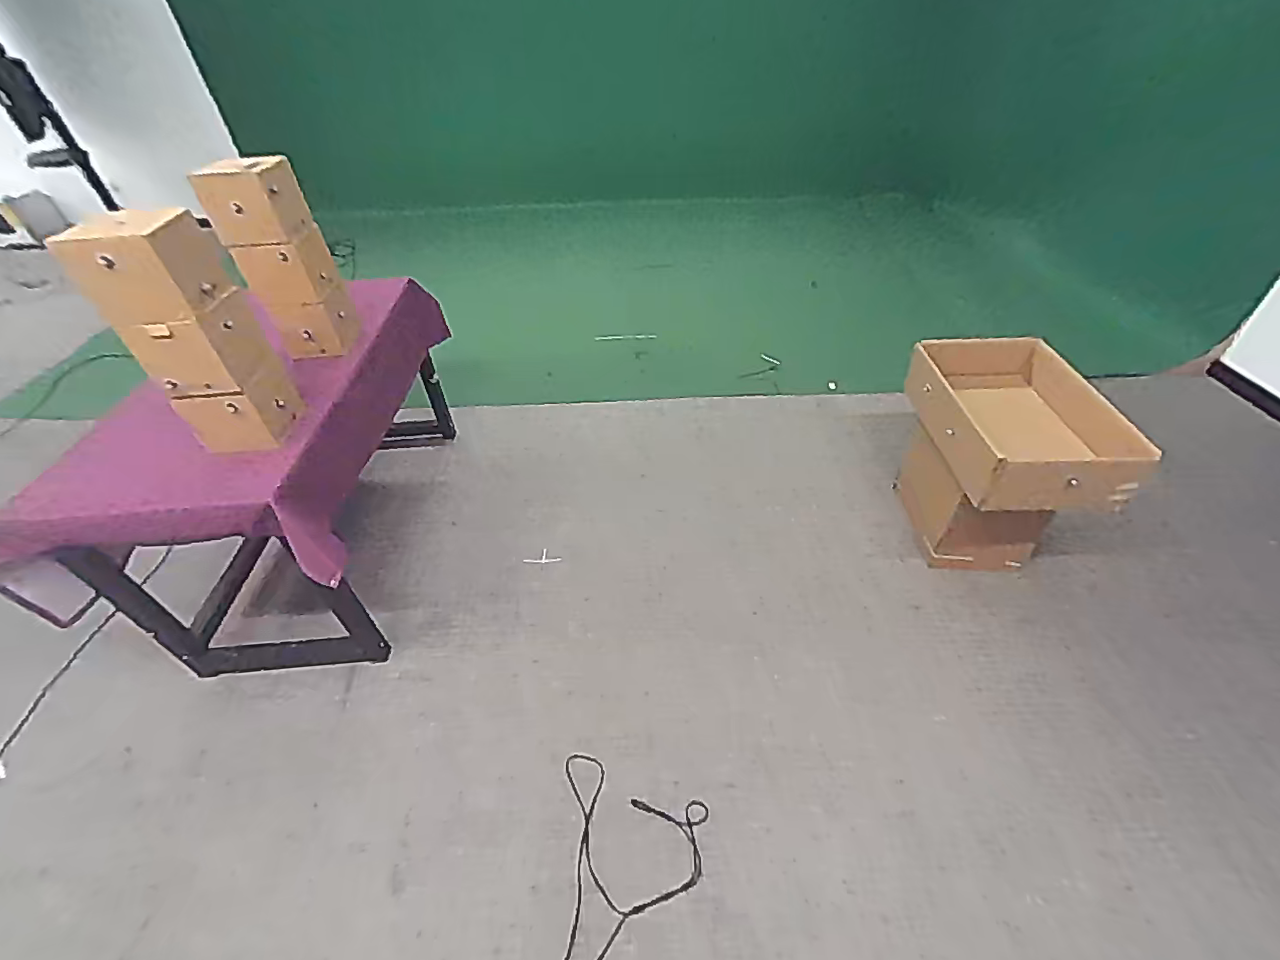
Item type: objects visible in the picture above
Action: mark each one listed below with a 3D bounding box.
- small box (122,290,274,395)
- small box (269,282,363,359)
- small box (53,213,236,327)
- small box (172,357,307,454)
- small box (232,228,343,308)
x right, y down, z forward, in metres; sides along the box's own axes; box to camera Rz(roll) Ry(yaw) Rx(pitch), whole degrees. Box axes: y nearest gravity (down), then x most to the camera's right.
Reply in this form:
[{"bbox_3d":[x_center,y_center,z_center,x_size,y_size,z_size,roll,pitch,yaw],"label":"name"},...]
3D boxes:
[{"bbox_3d":[-0.959,-0.300,1.198,0.168,0.176,0.179,-4,41,-1],"label":"small box"},{"bbox_3d":[-0.970,-0.479,1.640,0.168,0.176,0.179,-5,43,-2],"label":"small box"},{"bbox_3d":[-0.976,-0.420,1.088,0.179,0.176,0.168,-5,43,-3],"label":"small box"},{"bbox_3d":[-0.953,-0.179,1.309,0.179,0.176,0.168,-4,42,0],"label":"small box"},{"bbox_3d":[-0.985,-0.597,1.528,0.179,0.176,0.168,-4,42,-1],"label":"small box"}]
